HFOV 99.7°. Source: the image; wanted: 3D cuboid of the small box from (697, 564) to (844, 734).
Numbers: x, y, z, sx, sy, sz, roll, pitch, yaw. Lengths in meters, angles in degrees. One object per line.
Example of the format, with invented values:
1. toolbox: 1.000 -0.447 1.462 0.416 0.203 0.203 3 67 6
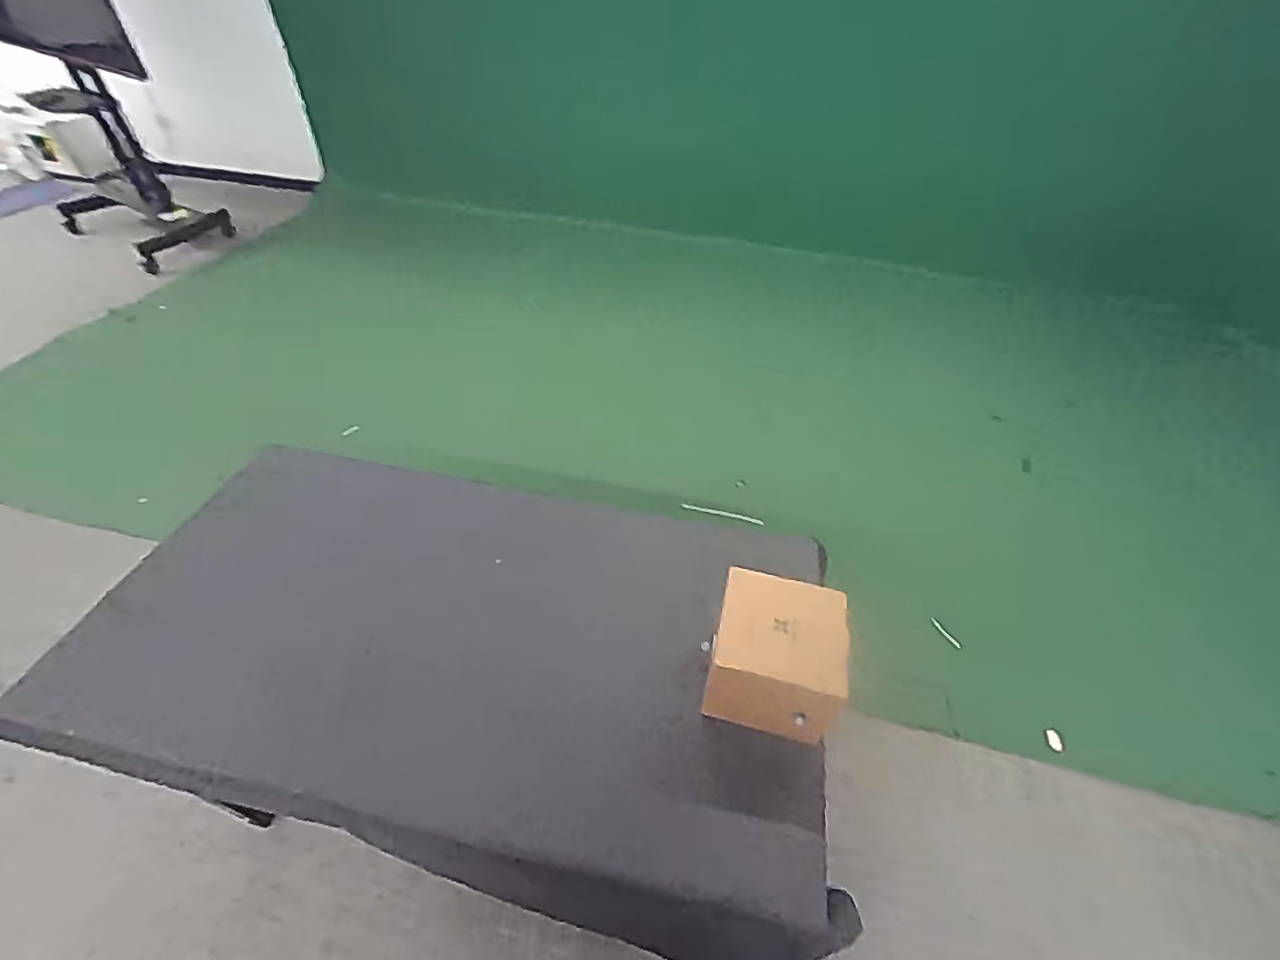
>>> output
1. small box: 0.191 0.255 0.805 0.179 0.176 0.168 11 46 9
